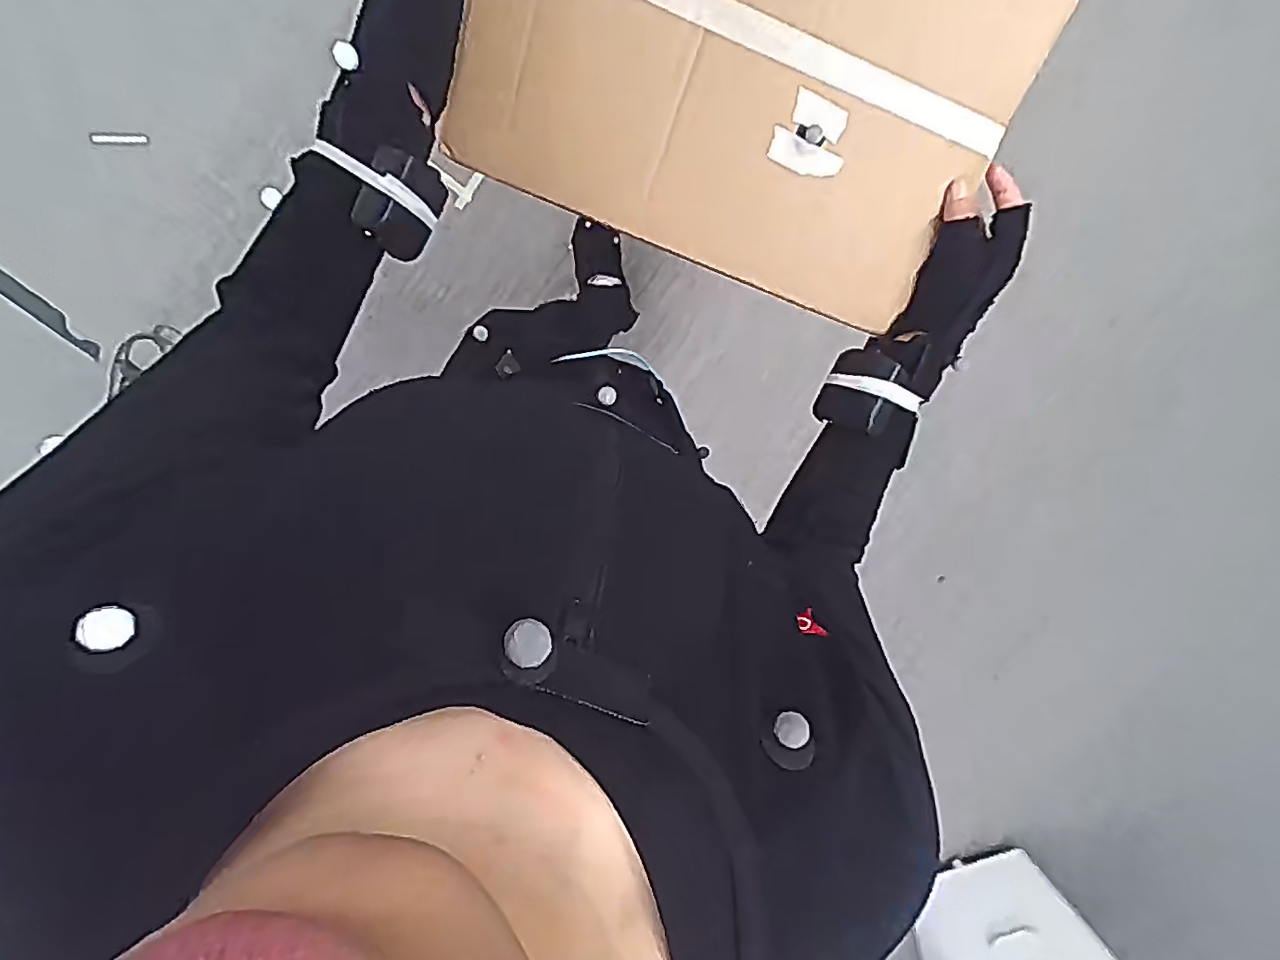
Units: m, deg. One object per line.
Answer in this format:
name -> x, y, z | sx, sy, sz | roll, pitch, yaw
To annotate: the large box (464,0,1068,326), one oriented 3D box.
large box -> 0.092, -0.389, 0.540 | 0.408, 0.320, 0.320 | 19, 114, -8
